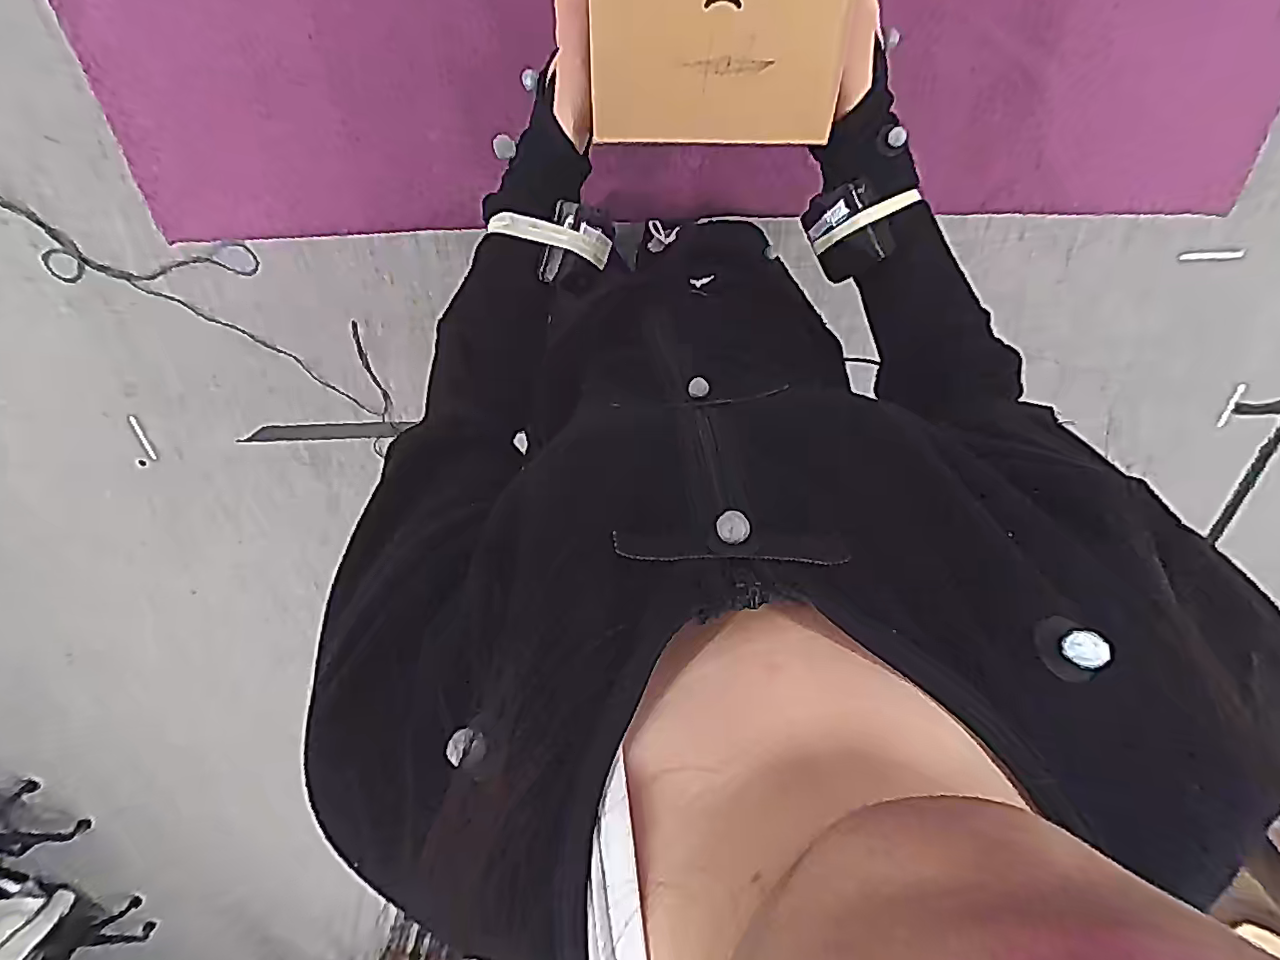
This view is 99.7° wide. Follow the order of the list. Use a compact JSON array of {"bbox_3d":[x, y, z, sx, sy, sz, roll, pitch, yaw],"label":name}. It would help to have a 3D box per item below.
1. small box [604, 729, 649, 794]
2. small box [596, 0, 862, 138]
[{"bbox_3d":[-0.053,1.157,2.225,0.168,0.176,0.179,-8,122,3],"label":"small box"},{"bbox_3d":[0.053,-0.357,0.378,0.168,0.176,0.179,0,133,0],"label":"small box"}]
